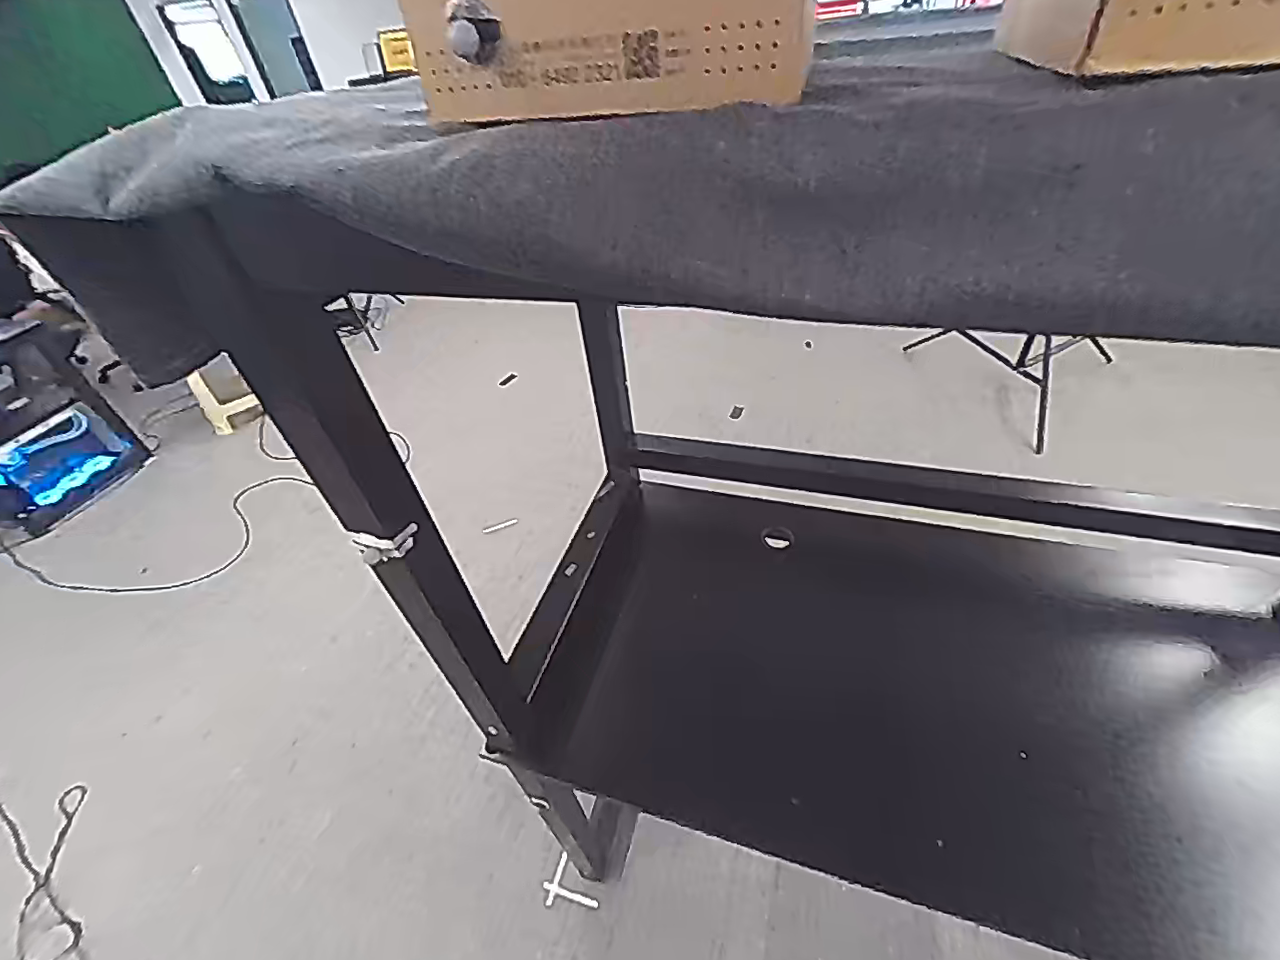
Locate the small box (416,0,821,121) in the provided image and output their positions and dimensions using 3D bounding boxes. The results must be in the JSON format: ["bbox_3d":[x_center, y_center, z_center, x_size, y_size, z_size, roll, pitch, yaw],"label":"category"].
[{"bbox_3d":[-0.001,-0.268,0.241,0.168,0.176,0.179,7,41,14],"label":"small box"}]
